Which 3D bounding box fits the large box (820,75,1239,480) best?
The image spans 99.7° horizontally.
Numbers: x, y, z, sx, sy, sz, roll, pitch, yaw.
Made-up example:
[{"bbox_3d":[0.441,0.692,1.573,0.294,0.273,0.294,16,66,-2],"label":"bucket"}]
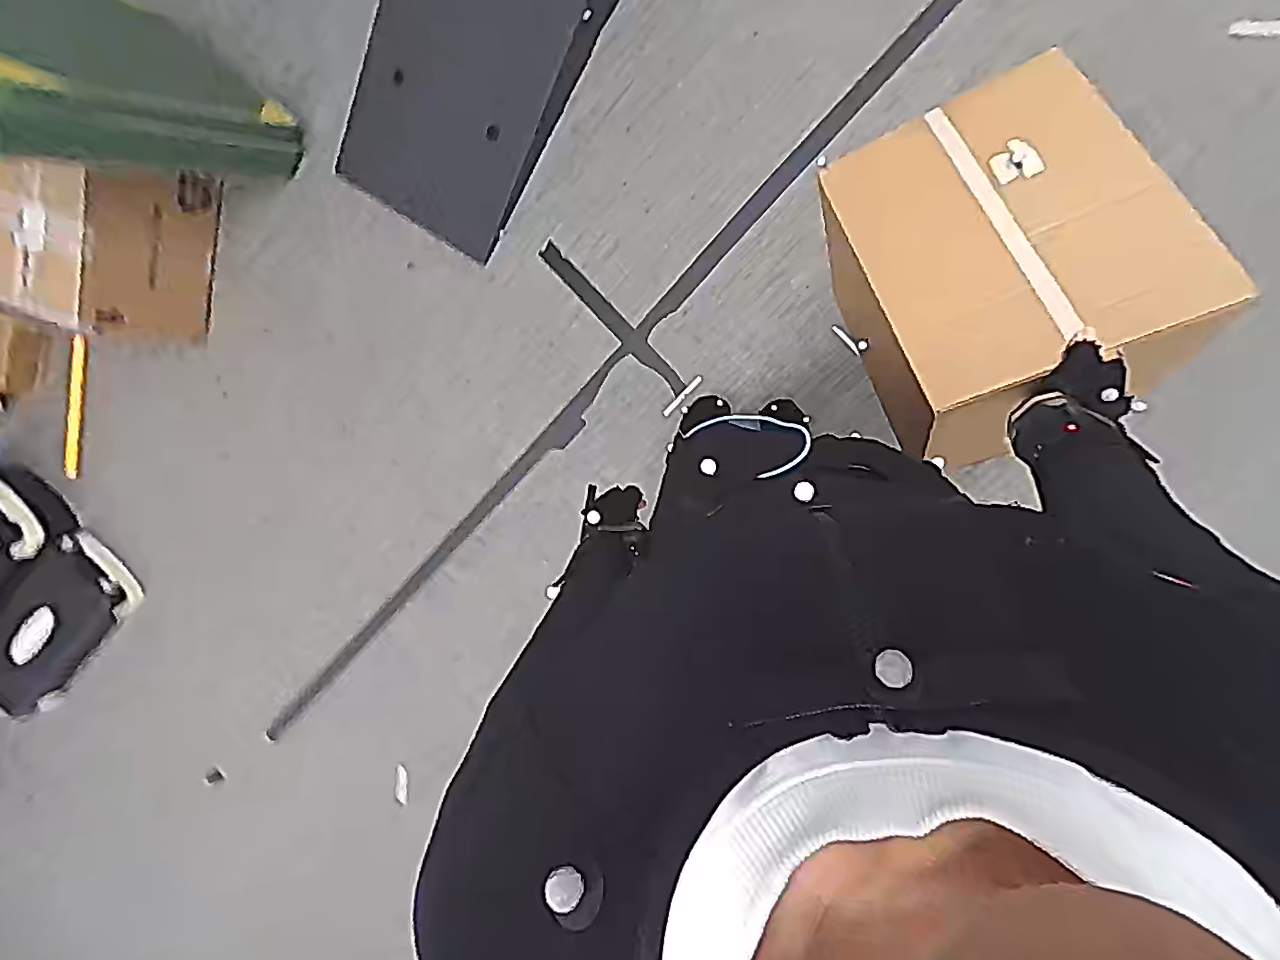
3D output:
[{"bbox_3d":[0.504,-0.265,0.809,0.320,0.320,0.408,-20,66,16],"label":"large box"}]
